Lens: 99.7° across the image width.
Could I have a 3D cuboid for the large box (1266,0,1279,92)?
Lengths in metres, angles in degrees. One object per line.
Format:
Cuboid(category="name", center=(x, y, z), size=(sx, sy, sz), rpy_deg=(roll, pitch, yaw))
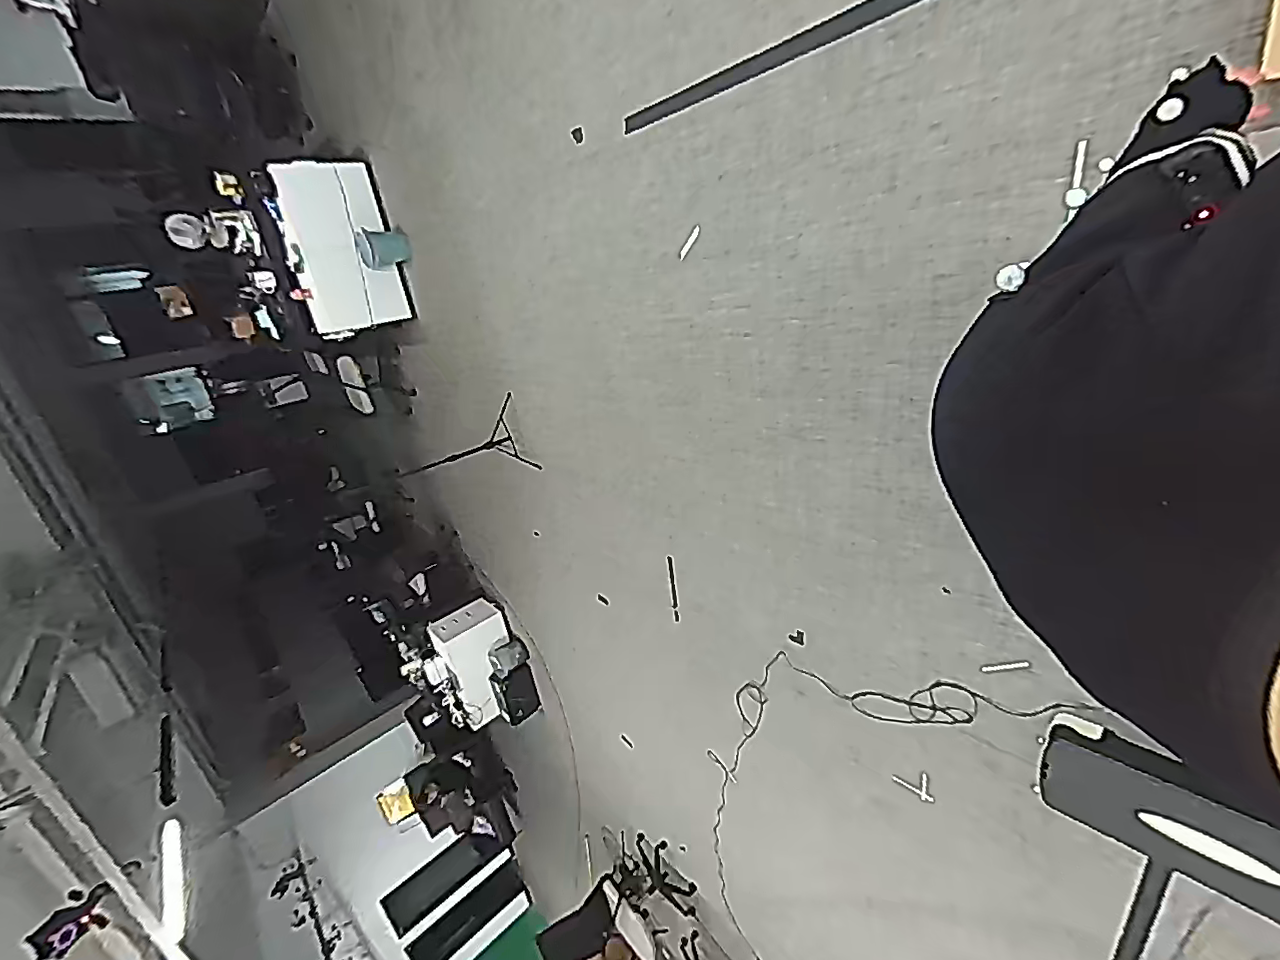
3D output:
Cuboid(category="large box", center=(1.031, -0.693, 0.603), size=(0.408, 0.320, 0.320), rpy_deg=(13, 121, 46))
